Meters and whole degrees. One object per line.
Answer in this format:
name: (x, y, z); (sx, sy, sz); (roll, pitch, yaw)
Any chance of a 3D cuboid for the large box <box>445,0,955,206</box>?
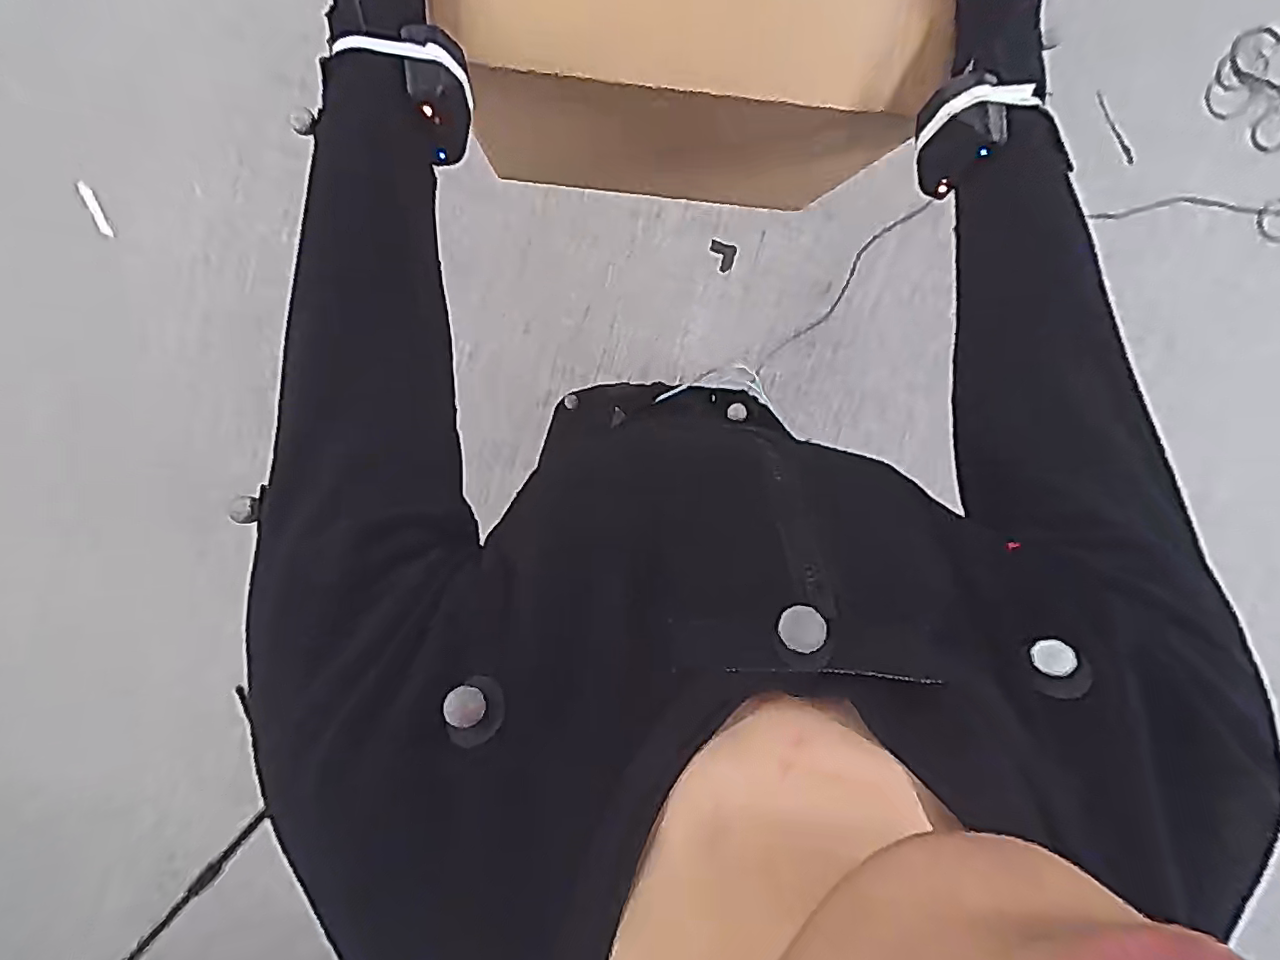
large box: (0.045, -0.494, 0.537); (0.408, 0.320, 0.320); (4, 104, -7)
